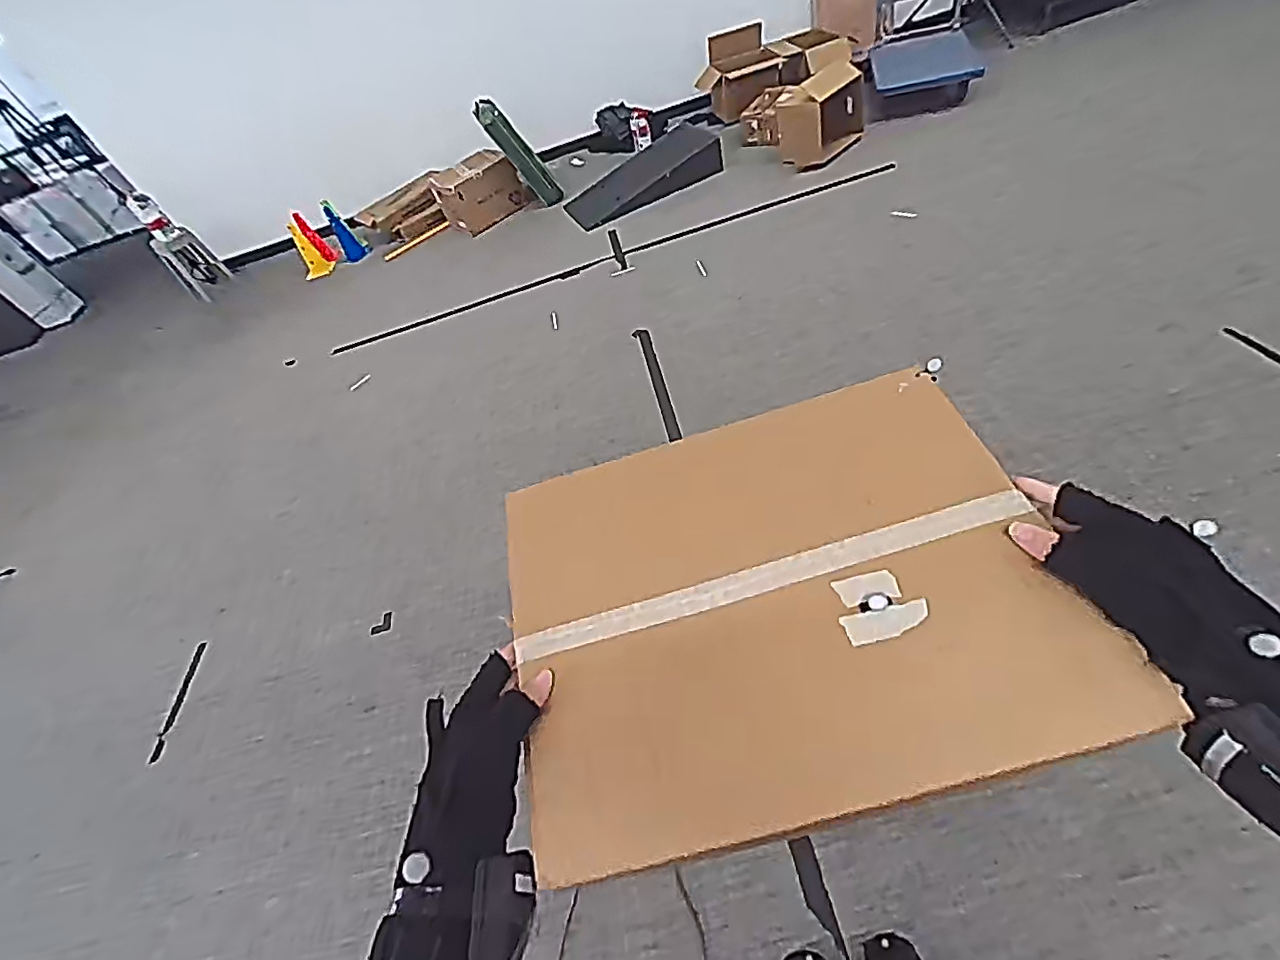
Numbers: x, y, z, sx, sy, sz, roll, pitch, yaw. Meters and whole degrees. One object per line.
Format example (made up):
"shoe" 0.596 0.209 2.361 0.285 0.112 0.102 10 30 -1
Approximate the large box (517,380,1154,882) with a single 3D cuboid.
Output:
"large box" 0.131 0.165 0.549 0.408 0.320 0.320 -17 54 3
